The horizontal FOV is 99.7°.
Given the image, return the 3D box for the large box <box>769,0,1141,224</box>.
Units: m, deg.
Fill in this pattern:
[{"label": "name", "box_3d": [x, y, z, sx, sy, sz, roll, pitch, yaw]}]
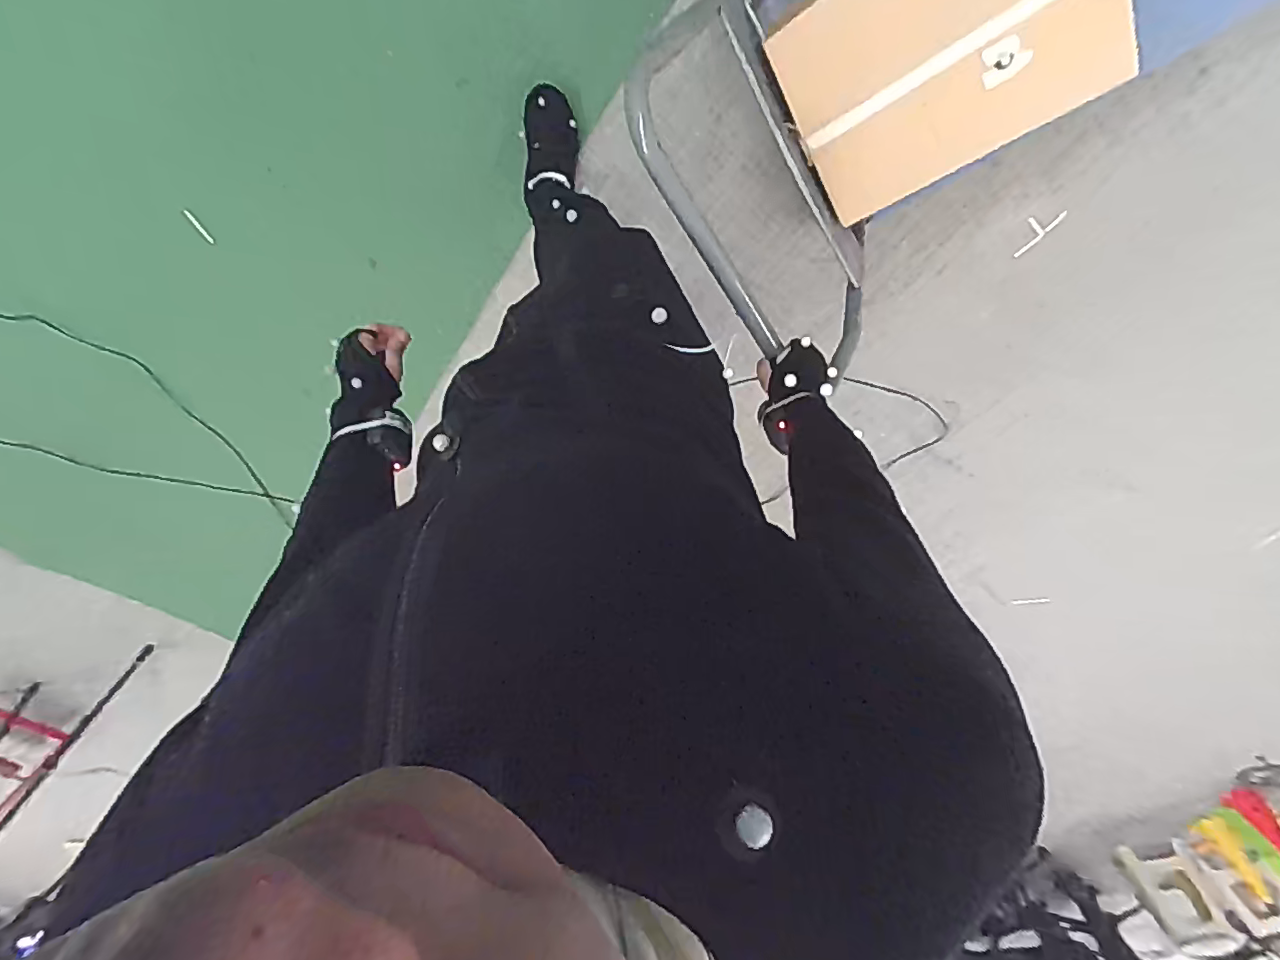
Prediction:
[{"label": "large box", "box_3d": [0.464, -0.702, 0.862, 0.408, 0.320, 0.320, -19, 126, 34]}]
